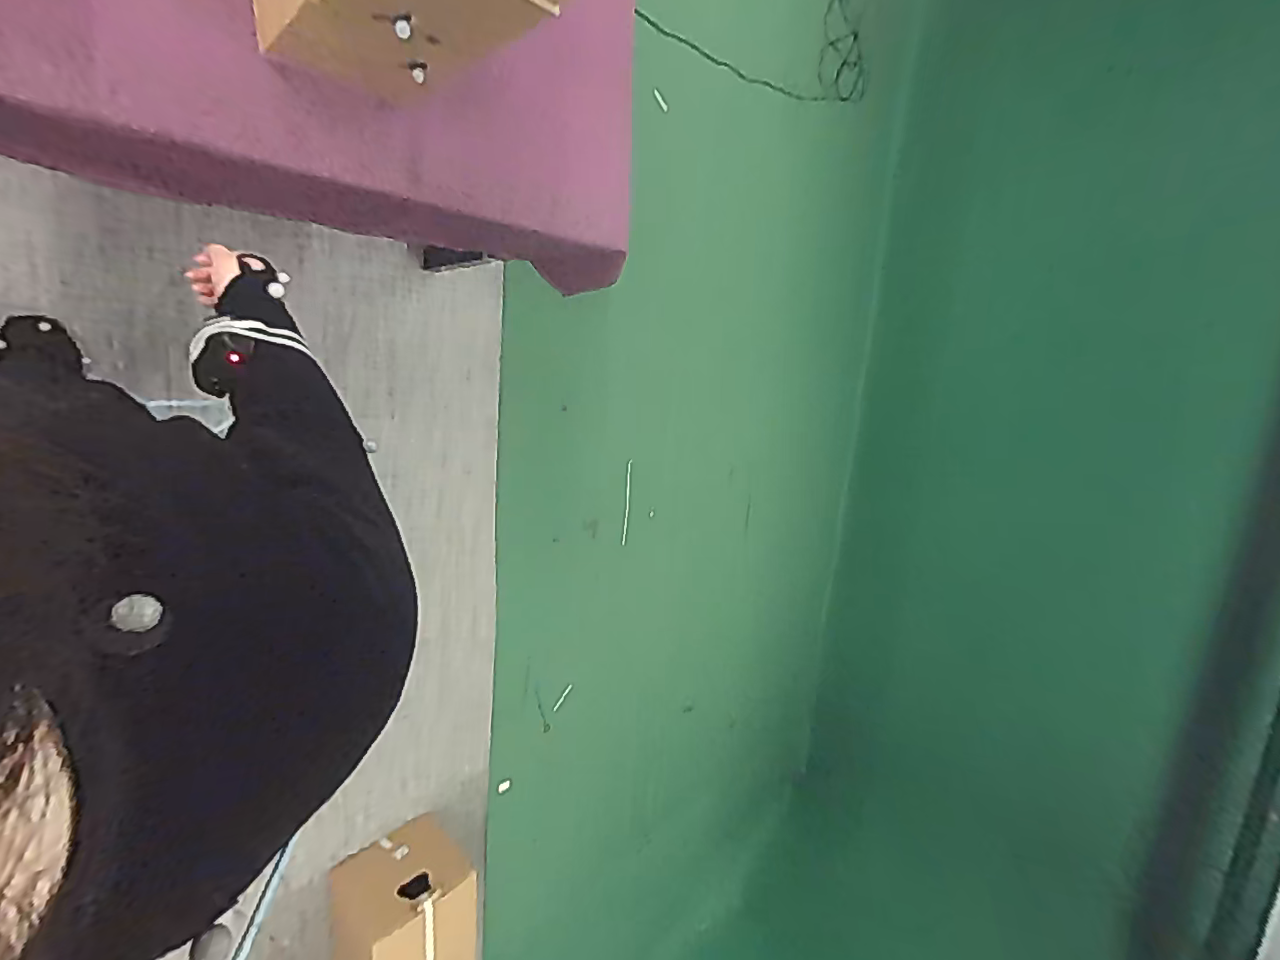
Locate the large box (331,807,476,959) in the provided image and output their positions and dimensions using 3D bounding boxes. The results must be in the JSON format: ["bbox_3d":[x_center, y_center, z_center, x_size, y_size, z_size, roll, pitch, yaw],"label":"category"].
[{"bbox_3d":[-0.728,1.341,1.674,0.320,0.320,0.408,-9,108,-48],"label":"large box"}]

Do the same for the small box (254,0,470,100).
[{"bbox_3d":[-0.316,-0.566,0.614,0.179,0.176,0.168,-12,108,-47],"label":"small box"}]
